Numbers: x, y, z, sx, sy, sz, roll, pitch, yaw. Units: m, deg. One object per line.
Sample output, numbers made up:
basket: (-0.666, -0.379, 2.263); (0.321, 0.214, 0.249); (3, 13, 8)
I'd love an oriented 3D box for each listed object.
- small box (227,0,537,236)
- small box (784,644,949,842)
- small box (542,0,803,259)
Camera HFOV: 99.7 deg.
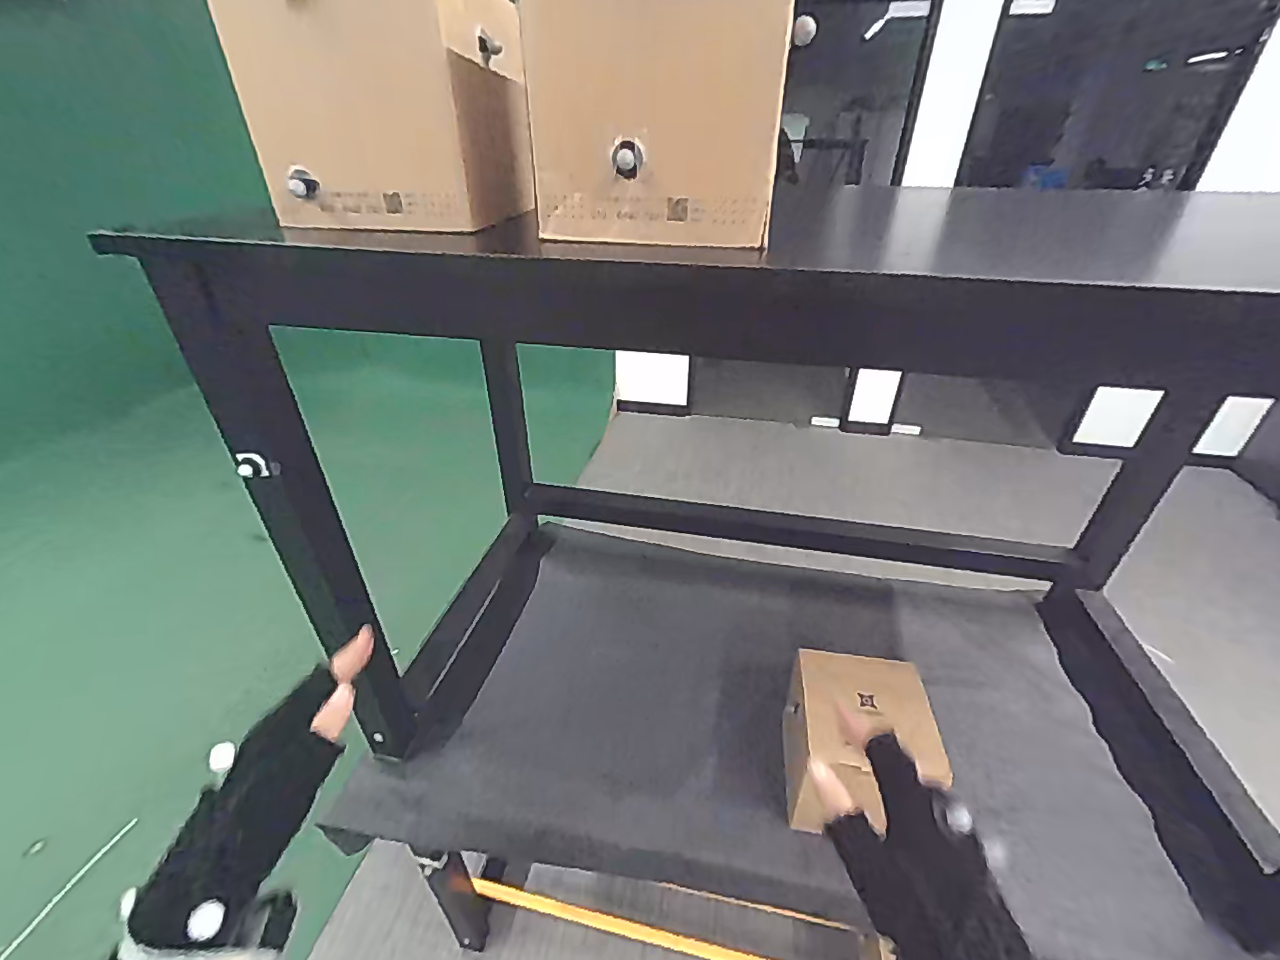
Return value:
small box: (-0.193, -0.313, 0.468); (0.168, 0.176, 0.179); (5, 32, 5)
small box: (0.301, 0.365, 0.764); (0.168, 0.176, 0.179); (5, 32, 8)
small box: (0.029, -0.282, 0.425); (0.168, 0.176, 0.179); (6, 33, 9)
